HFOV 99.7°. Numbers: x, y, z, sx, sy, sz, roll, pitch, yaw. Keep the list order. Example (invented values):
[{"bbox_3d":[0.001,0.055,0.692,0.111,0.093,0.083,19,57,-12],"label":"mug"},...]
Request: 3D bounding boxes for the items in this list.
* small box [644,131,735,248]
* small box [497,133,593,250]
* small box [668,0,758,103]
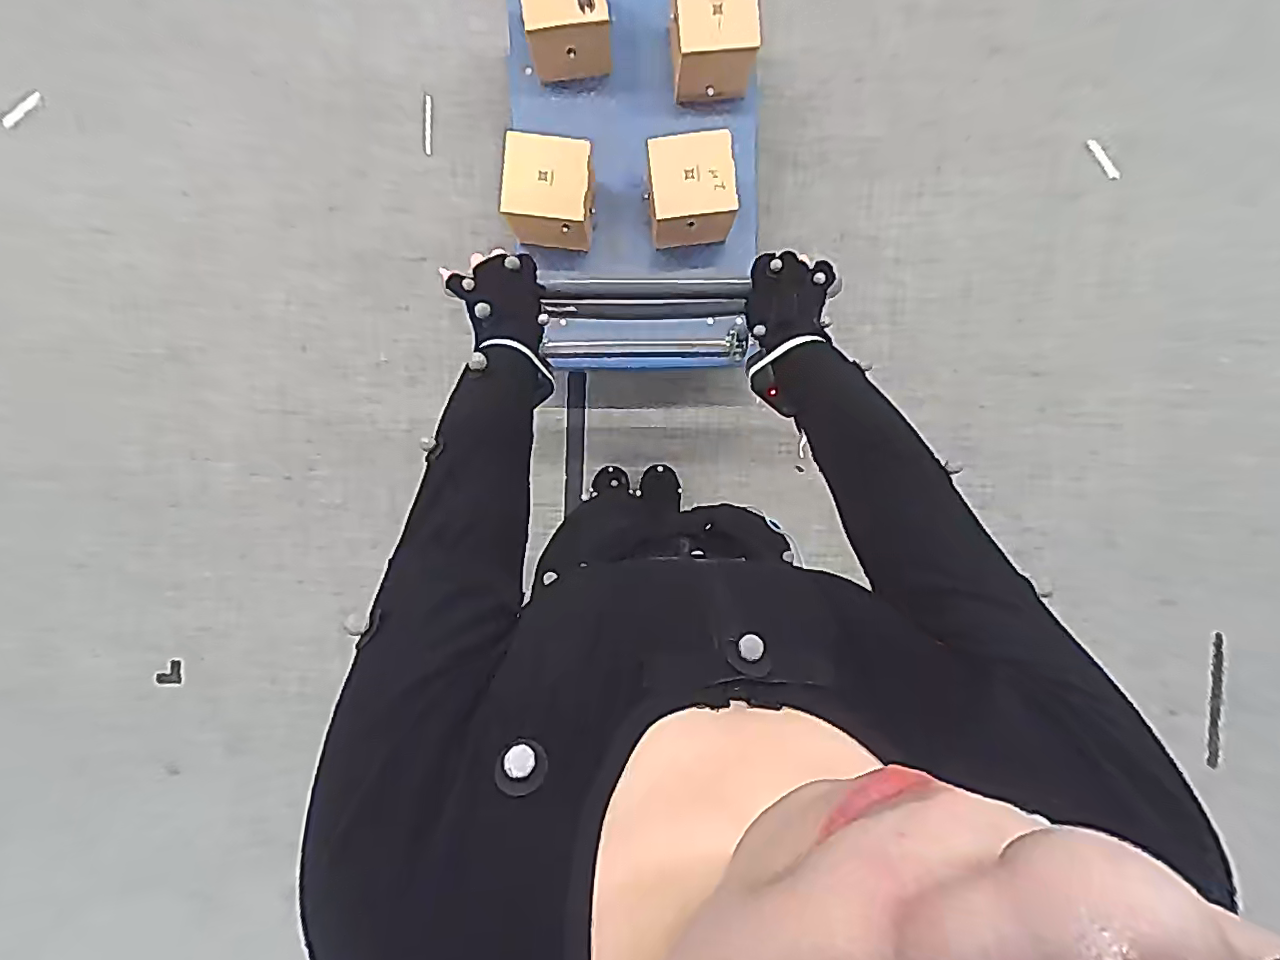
[{"bbox_3d":[0.103,-0.628,1.189,0.179,0.176,0.168,-6,94,0],"label":"small box"},{"bbox_3d":[-0.202,-0.624,1.189,0.179,0.176,0.168,6,93,-2],"label":"small box"},{"bbox_3d":[0.151,-0.962,1.171,0.168,0.176,0.179,-4,94,0],"label":"small box"}]
